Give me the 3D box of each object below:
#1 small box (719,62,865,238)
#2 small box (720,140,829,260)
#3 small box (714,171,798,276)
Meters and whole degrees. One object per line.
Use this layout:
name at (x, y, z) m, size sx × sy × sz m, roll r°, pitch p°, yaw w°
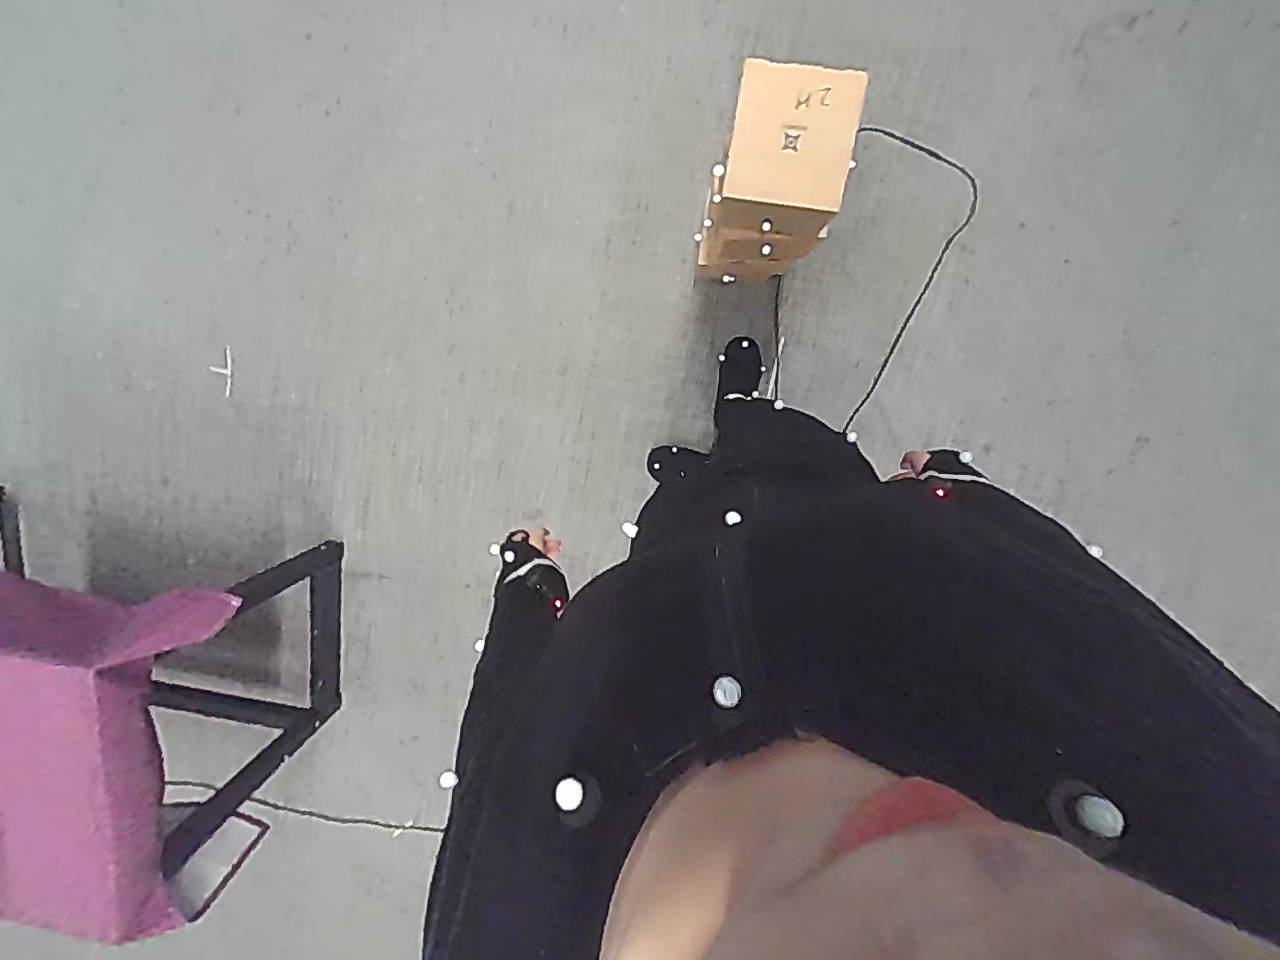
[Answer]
small box at (0.216, -0.482, 0.820) m, size 0.168 × 0.176 × 0.179 m, roll 10°, pitch 102°, yaw 4°
small box at (0.240, -0.504, 0.981) m, size 0.179 × 0.176 × 0.168 m, roll 2°, pitch 101°, yaw 6°
small box at (0.242, -0.536, 1.142) m, size 0.168 × 0.176 × 0.179 m, roll -1°, pitch 100°, yaw 6°
